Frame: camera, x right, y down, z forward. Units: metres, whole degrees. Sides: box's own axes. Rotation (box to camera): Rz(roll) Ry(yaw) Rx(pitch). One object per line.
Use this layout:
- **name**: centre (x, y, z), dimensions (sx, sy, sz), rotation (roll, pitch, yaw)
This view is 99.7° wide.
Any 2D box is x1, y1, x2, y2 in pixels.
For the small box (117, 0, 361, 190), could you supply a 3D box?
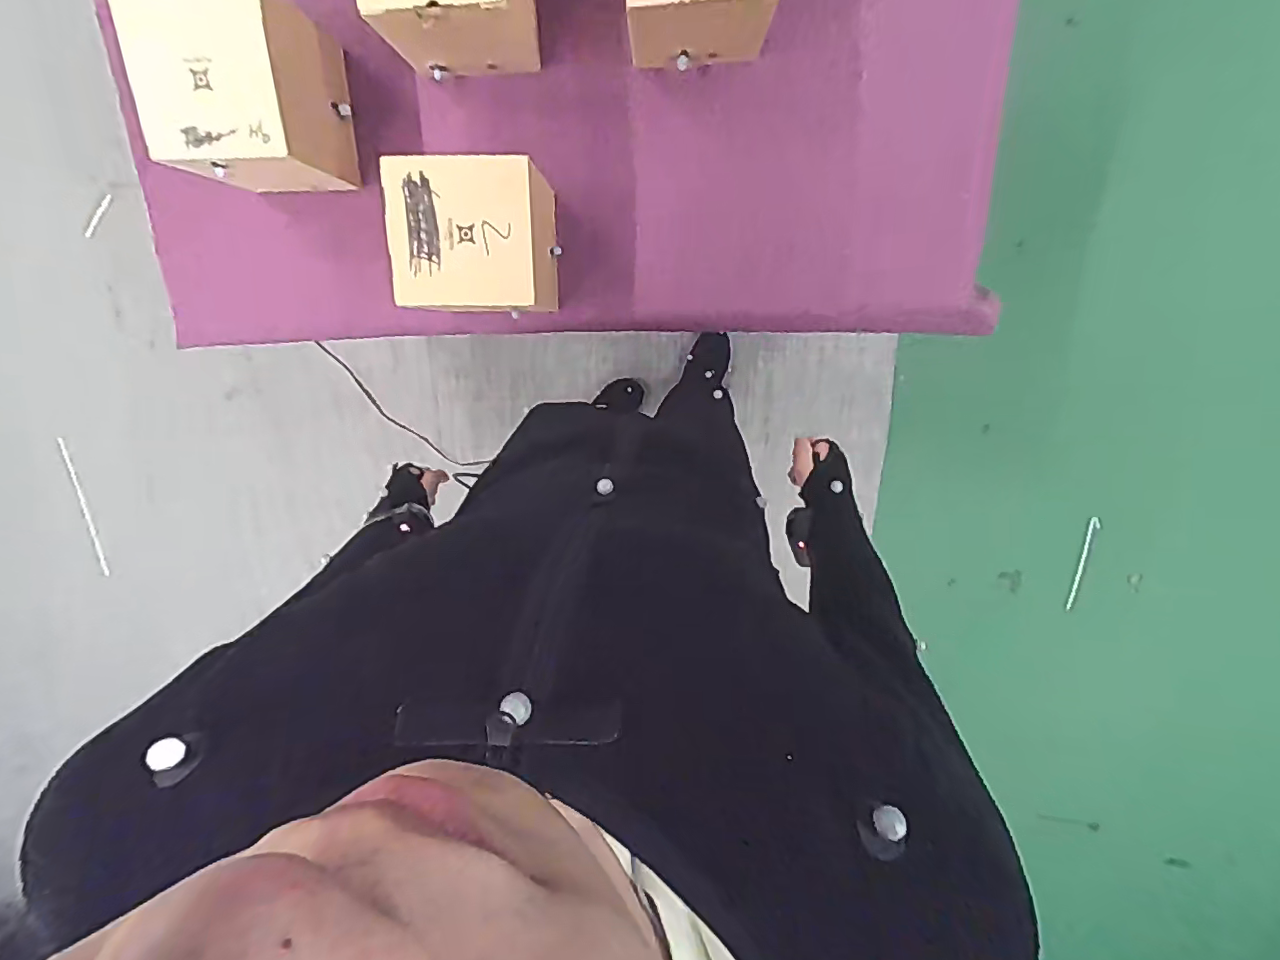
- **small box**: centre (-0.479, -0.479, 0.674), dimensions (0.168, 0.176, 0.179), rotation (0, 107, 3)

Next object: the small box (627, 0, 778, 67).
- **small box**: centre (0.066, -0.614, 0.618), dimensions (0.168, 0.176, 0.179), rotation (-2, 108, 3)

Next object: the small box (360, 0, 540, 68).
- **small box**: centre (-0.218, -0.610, 0.627), dimensions (0.168, 0.176, 0.179), rotation (-2, 106, 2)
